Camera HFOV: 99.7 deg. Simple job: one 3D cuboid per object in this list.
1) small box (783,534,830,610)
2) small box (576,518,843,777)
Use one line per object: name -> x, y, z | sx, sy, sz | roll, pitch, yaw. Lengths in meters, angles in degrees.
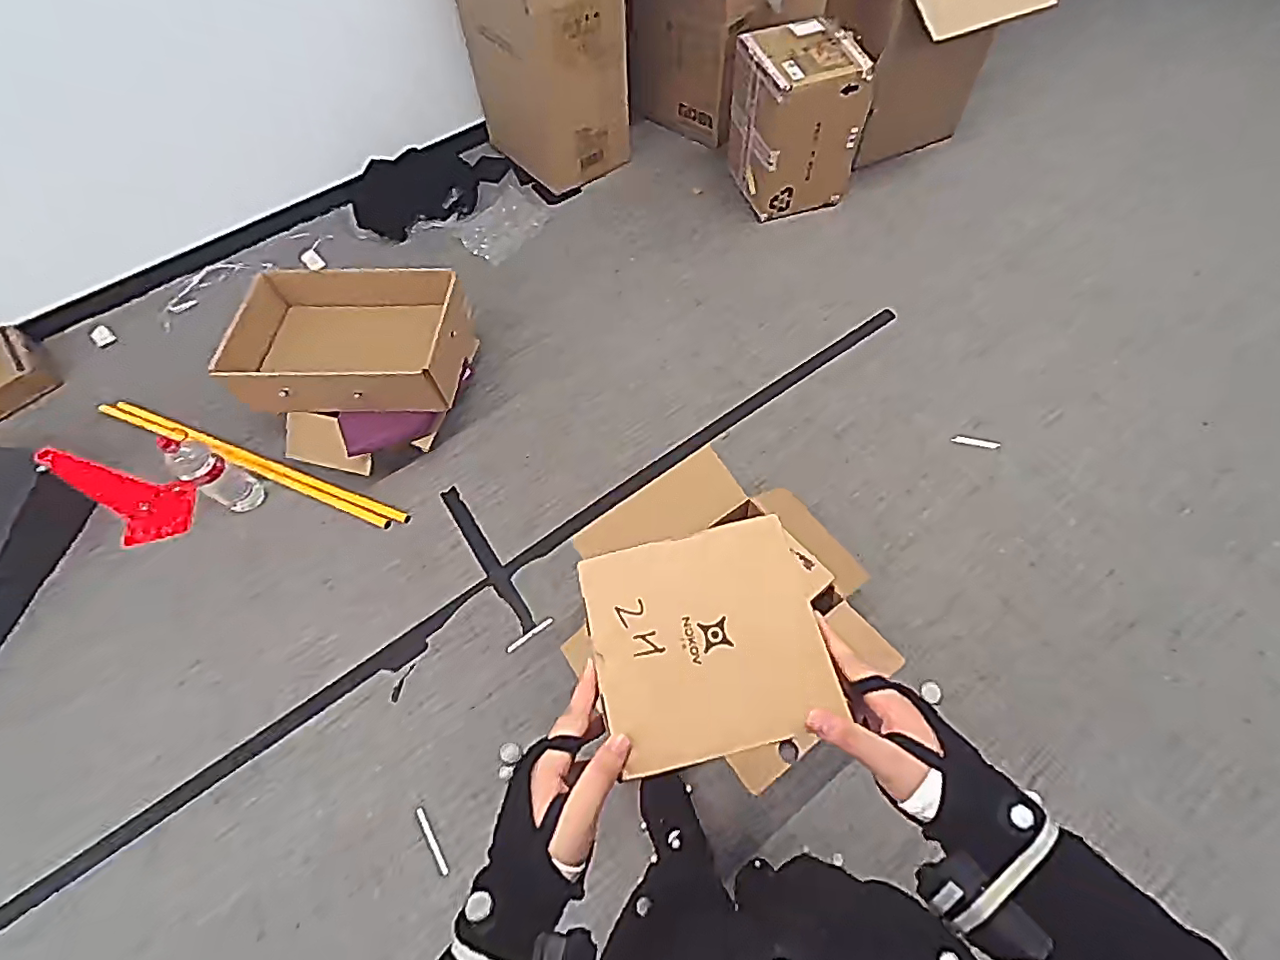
small box -> 0.284, 0.244, 1.198 | 0.179, 0.176, 0.168 | -35, 63, -18
small box -> 0.052, 0.153, 0.490 | 0.179, 0.176, 0.168 | -13, 65, -1
